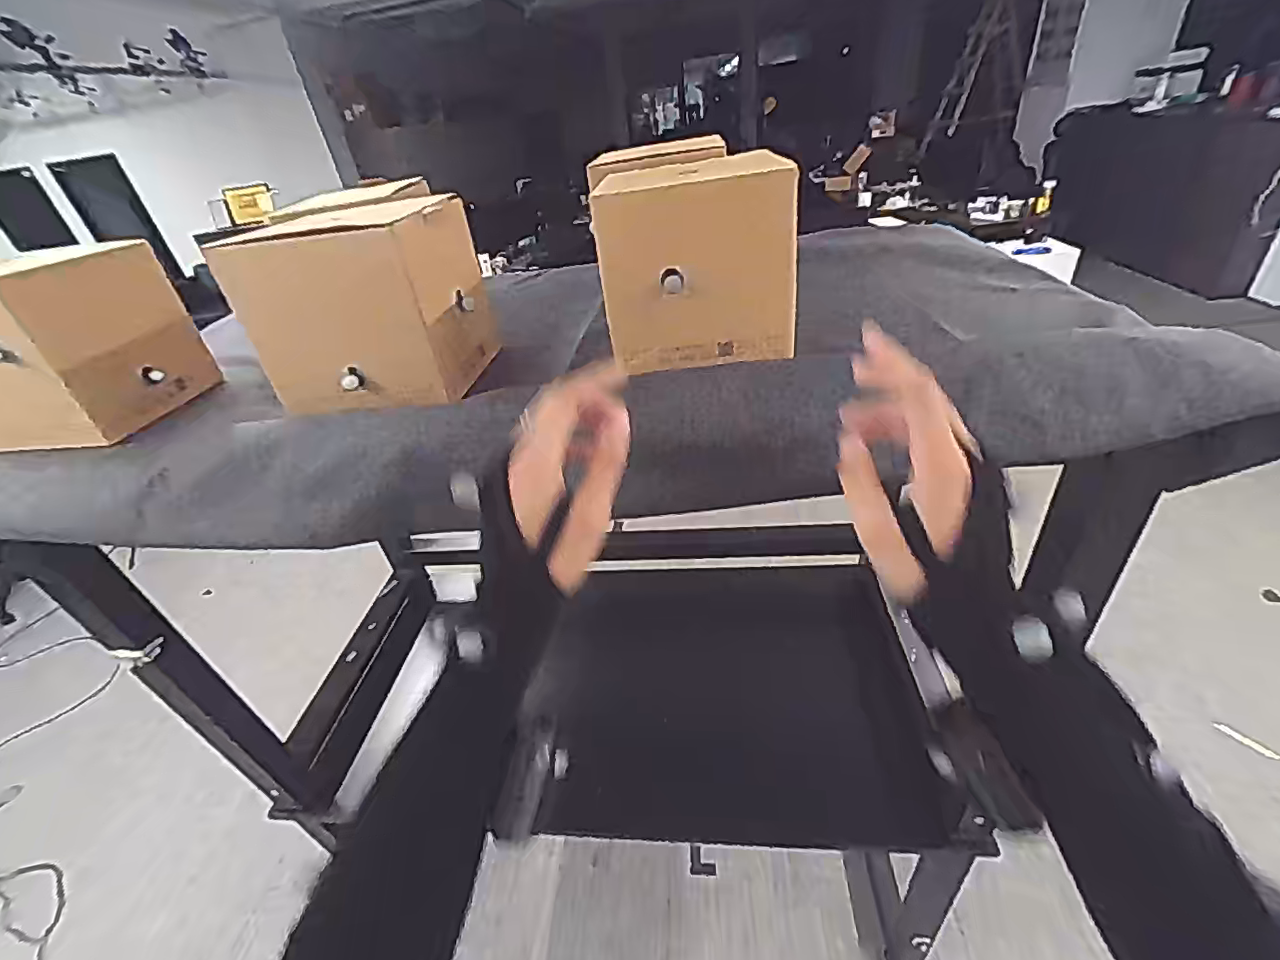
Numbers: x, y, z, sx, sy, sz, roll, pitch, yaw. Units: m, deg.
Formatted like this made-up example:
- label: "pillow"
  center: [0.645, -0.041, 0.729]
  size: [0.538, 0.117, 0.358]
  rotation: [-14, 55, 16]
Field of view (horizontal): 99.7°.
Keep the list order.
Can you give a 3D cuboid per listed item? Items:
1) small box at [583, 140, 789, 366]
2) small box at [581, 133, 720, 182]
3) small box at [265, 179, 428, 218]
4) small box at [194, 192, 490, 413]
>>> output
- label: "small box"
  center: [0.050, -0.218, 0.529]
  size: [0.168, 0.176, 0.179]
  rotation: [-5, 33, 6]
- label: "small box"
  center: [0.029, -0.379, 0.767]
  size: [0.179, 0.176, 0.168]
  rotation: [-4, 35, 8]
- label: "small box"
  center: [-0.400, -0.338, 0.810]
  size: [0.168, 0.176, 0.179]
  rotation: [-8, 34, 3]
- label: "small box"
  center: [-0.271, -0.180, 0.547]
  size: [0.179, 0.176, 0.168]
  rotation: [-3, 33, 7]
